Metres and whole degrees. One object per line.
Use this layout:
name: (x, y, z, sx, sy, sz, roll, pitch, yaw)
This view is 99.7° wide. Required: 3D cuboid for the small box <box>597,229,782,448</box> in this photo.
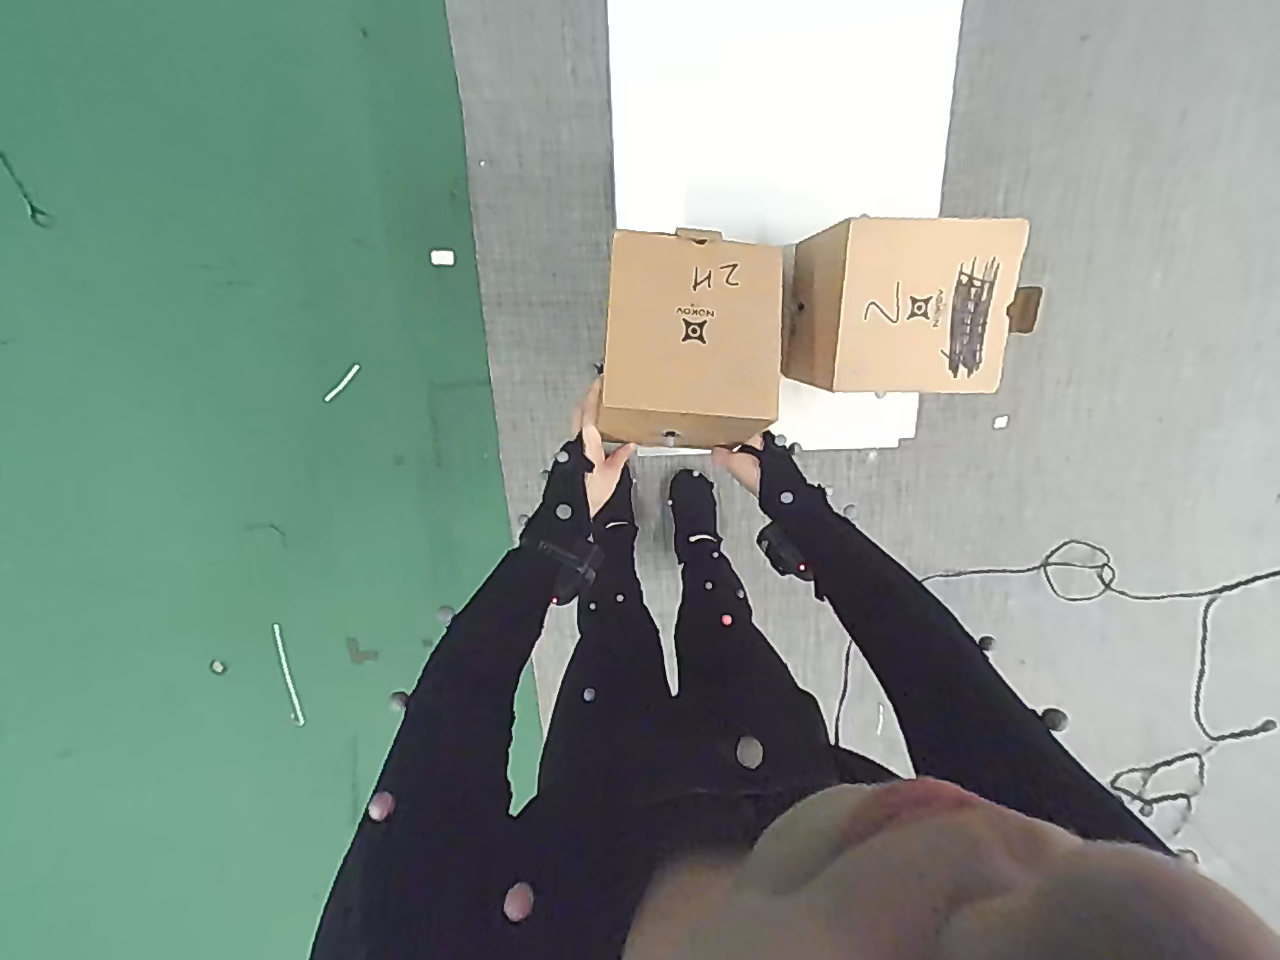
small box: (0.042, -0.134, 0.582, 0.168, 0.176, 0.179, 4, 83, -6)
